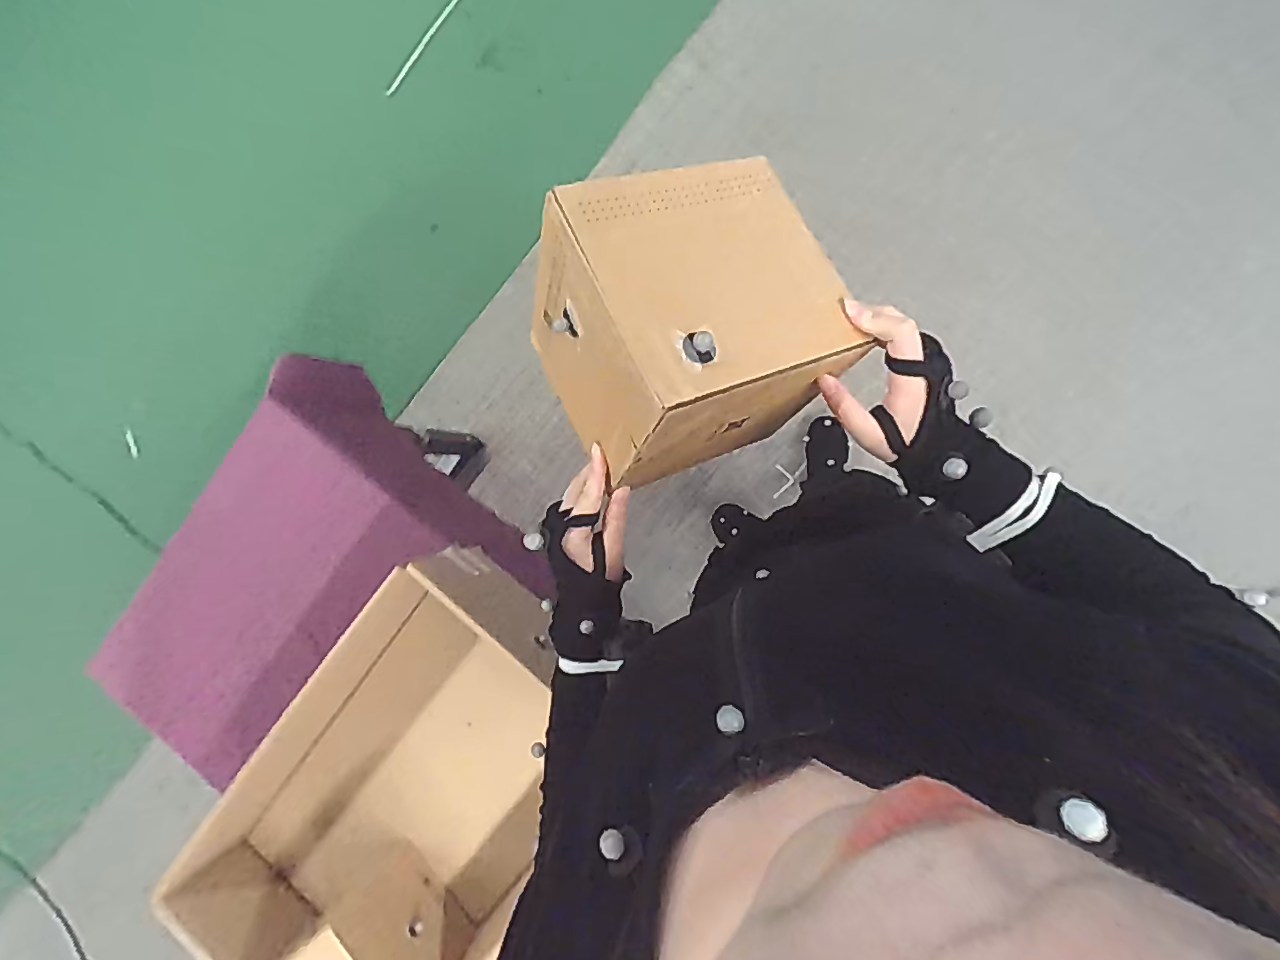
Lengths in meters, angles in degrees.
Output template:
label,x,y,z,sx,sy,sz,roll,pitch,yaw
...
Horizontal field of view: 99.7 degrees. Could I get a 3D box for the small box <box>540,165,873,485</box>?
label,x,y,z,sx,sy,sz,roll,pitch,yaw
small box,0.036,-0.120,0.434,0.179,0.168,0.176,-19,77,-19
